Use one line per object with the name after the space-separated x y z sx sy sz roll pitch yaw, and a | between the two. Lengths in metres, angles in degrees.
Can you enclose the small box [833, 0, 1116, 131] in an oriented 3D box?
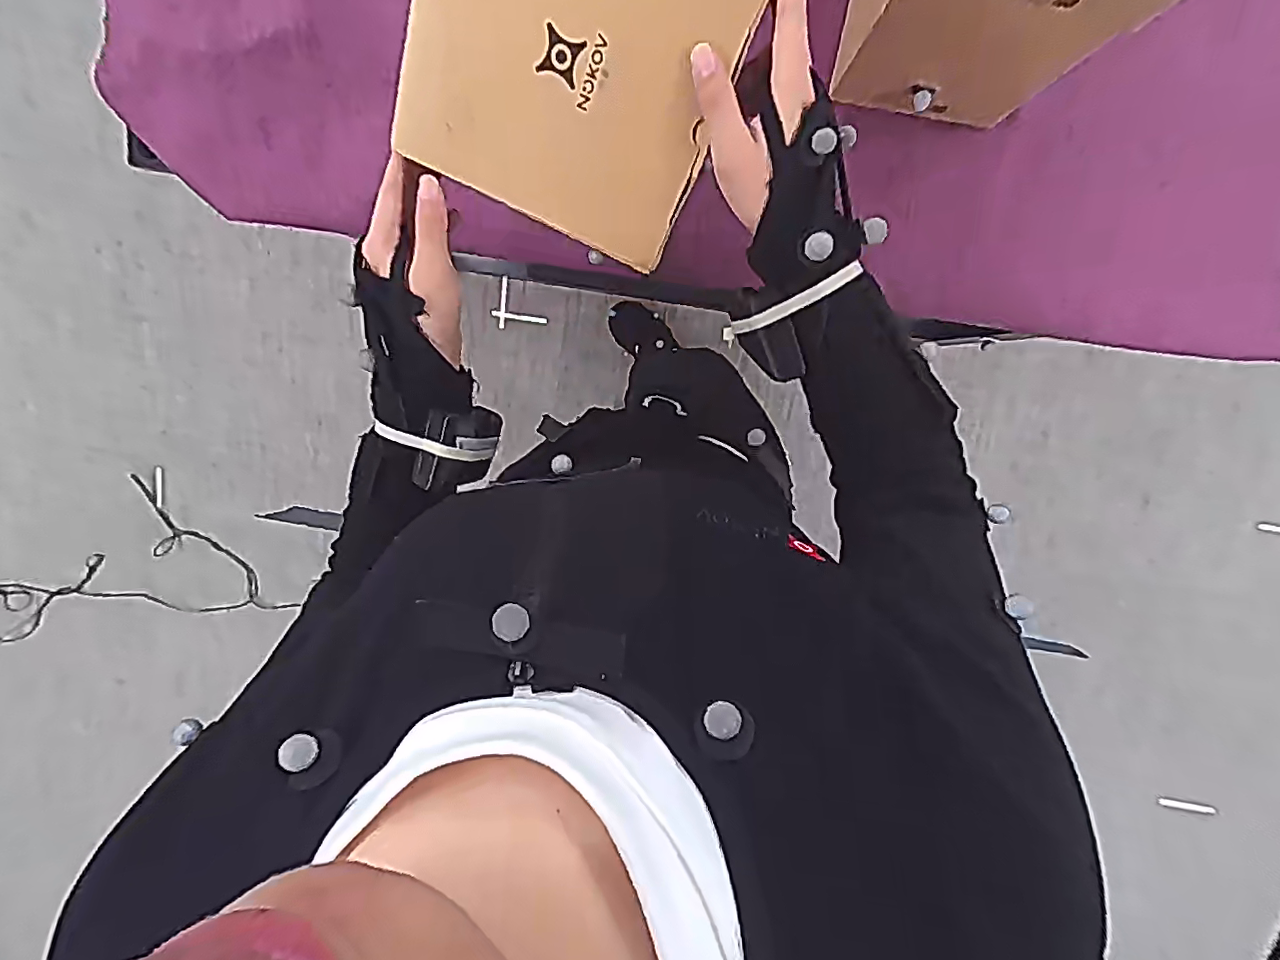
0.279 -0.431 0.447 0.168 0.176 0.179 11 102 0 | small box
